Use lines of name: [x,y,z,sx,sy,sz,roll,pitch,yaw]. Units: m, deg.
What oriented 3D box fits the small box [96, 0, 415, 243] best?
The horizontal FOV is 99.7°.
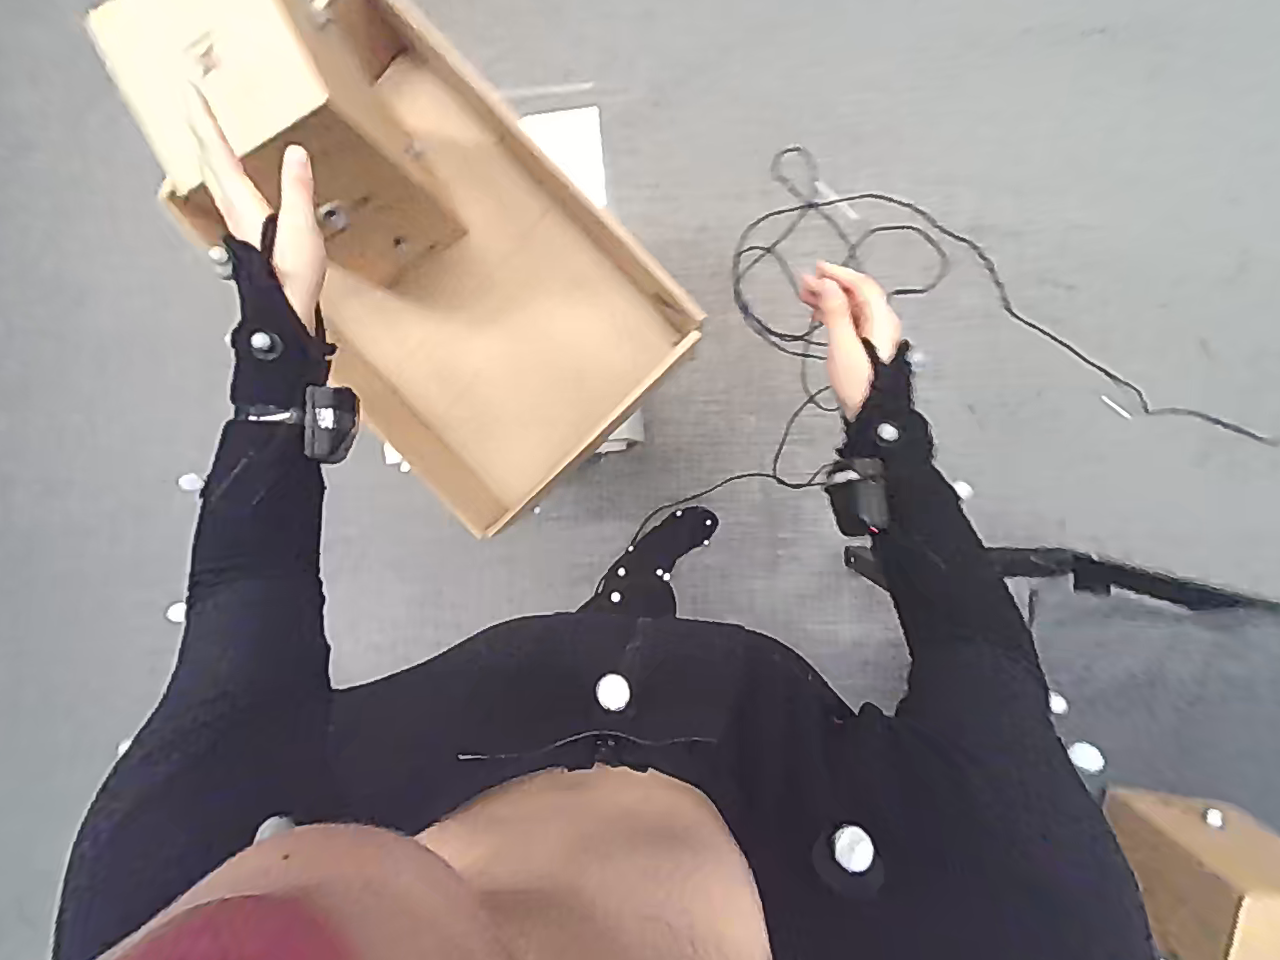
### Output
small box: [-0.376,-0.385,0.563,0.168,0.176,0.179,-28,93,7]
